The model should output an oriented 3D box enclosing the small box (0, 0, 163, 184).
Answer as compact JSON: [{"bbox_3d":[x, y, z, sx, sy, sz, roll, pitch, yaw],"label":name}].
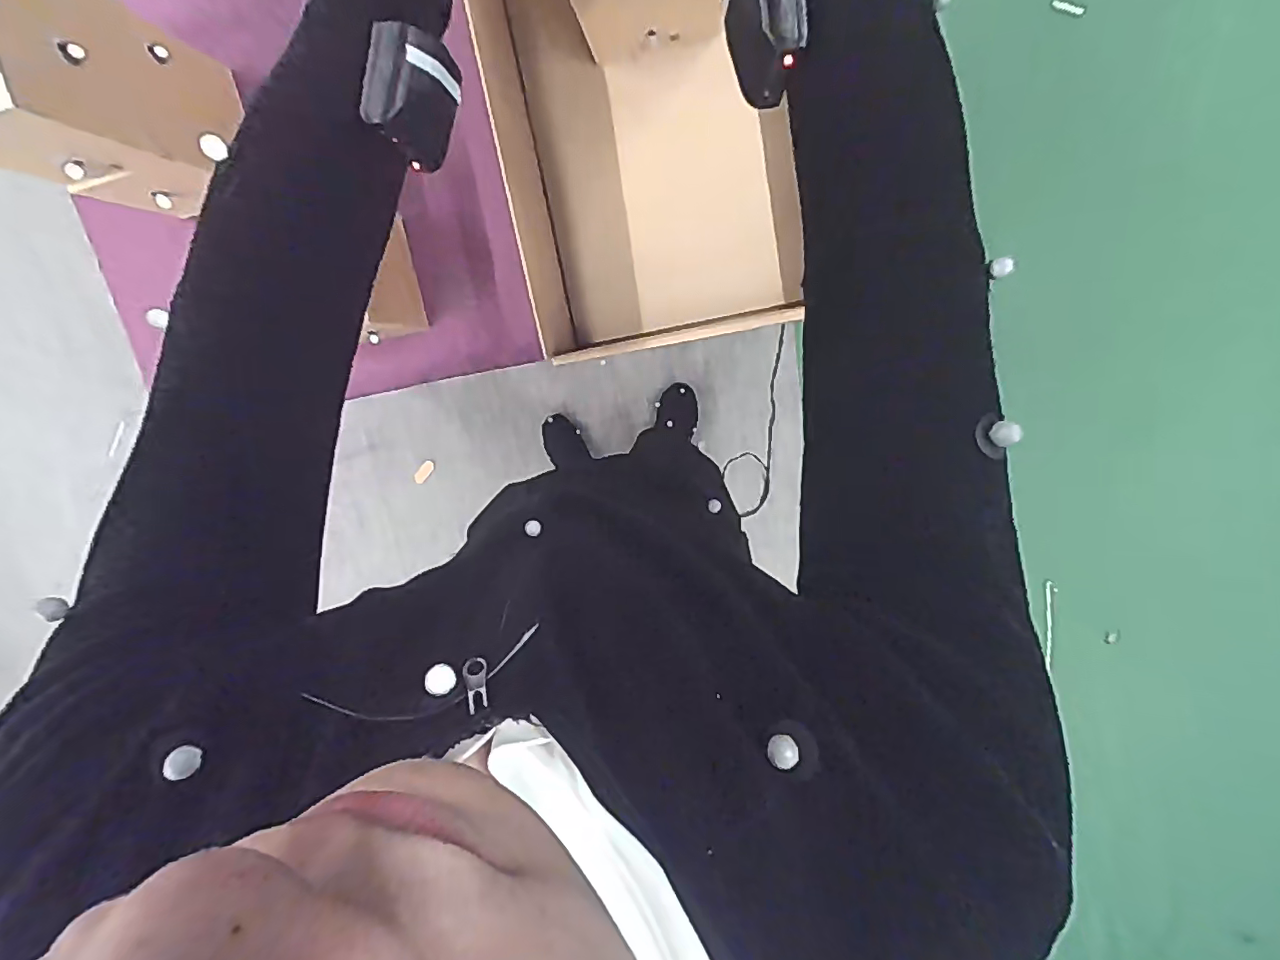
[{"bbox_3d":[-0.690,-0.453,0.591,0.168,0.176,0.179,-6,103,7],"label":"small box"}]

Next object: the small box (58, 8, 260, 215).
[{"bbox_3d":[-0.680,-0.487,0.752,0.168,0.176,0.179,-11,101,8],"label":"small box"}]
